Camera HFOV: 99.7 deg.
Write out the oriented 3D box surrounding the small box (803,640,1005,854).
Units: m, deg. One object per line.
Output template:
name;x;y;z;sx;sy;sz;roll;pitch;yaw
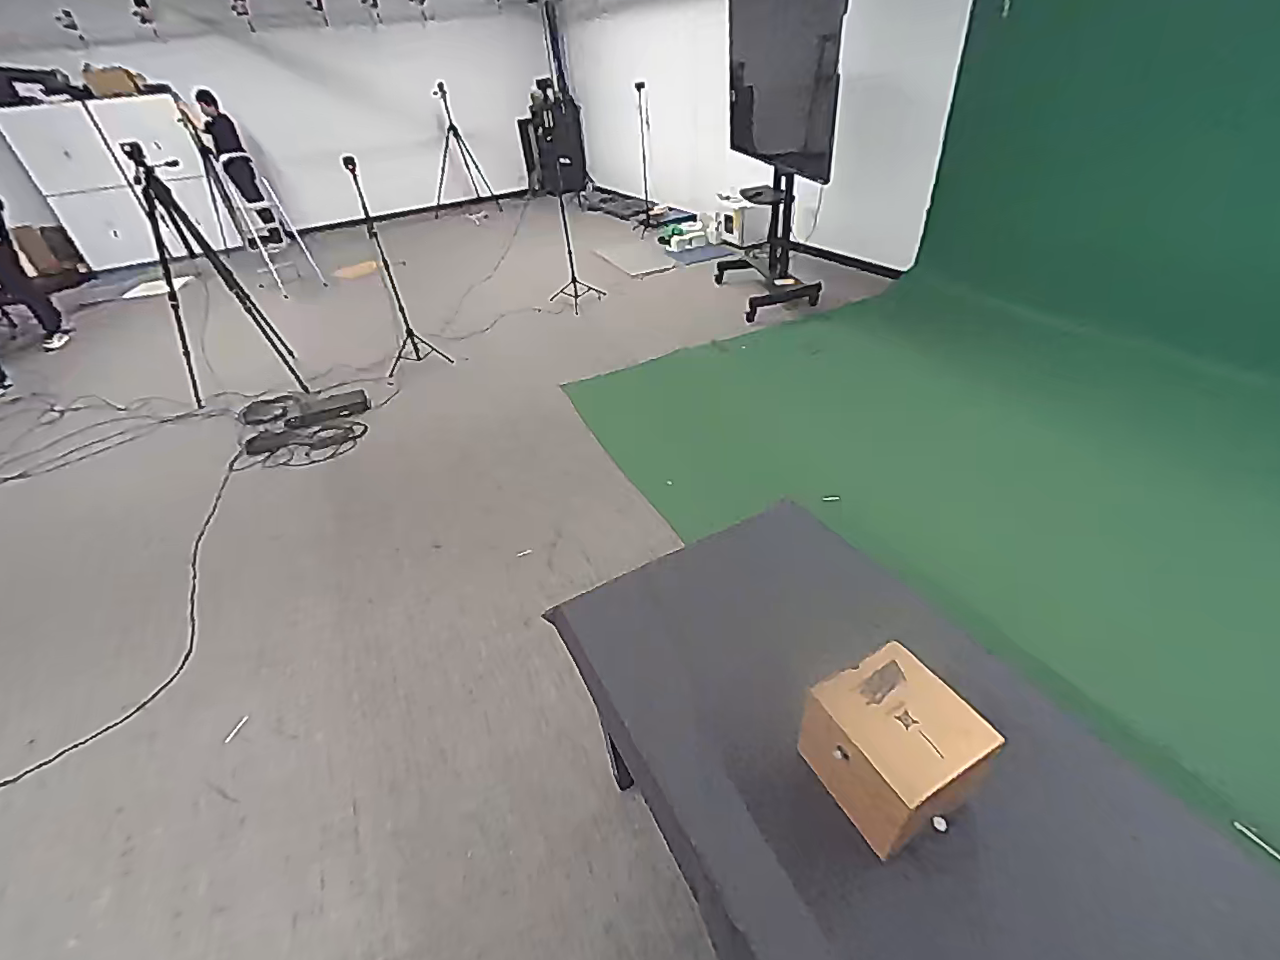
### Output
small box;0.347;0.365;0.750;0.168;0.176;0.179;-21;40;-18
